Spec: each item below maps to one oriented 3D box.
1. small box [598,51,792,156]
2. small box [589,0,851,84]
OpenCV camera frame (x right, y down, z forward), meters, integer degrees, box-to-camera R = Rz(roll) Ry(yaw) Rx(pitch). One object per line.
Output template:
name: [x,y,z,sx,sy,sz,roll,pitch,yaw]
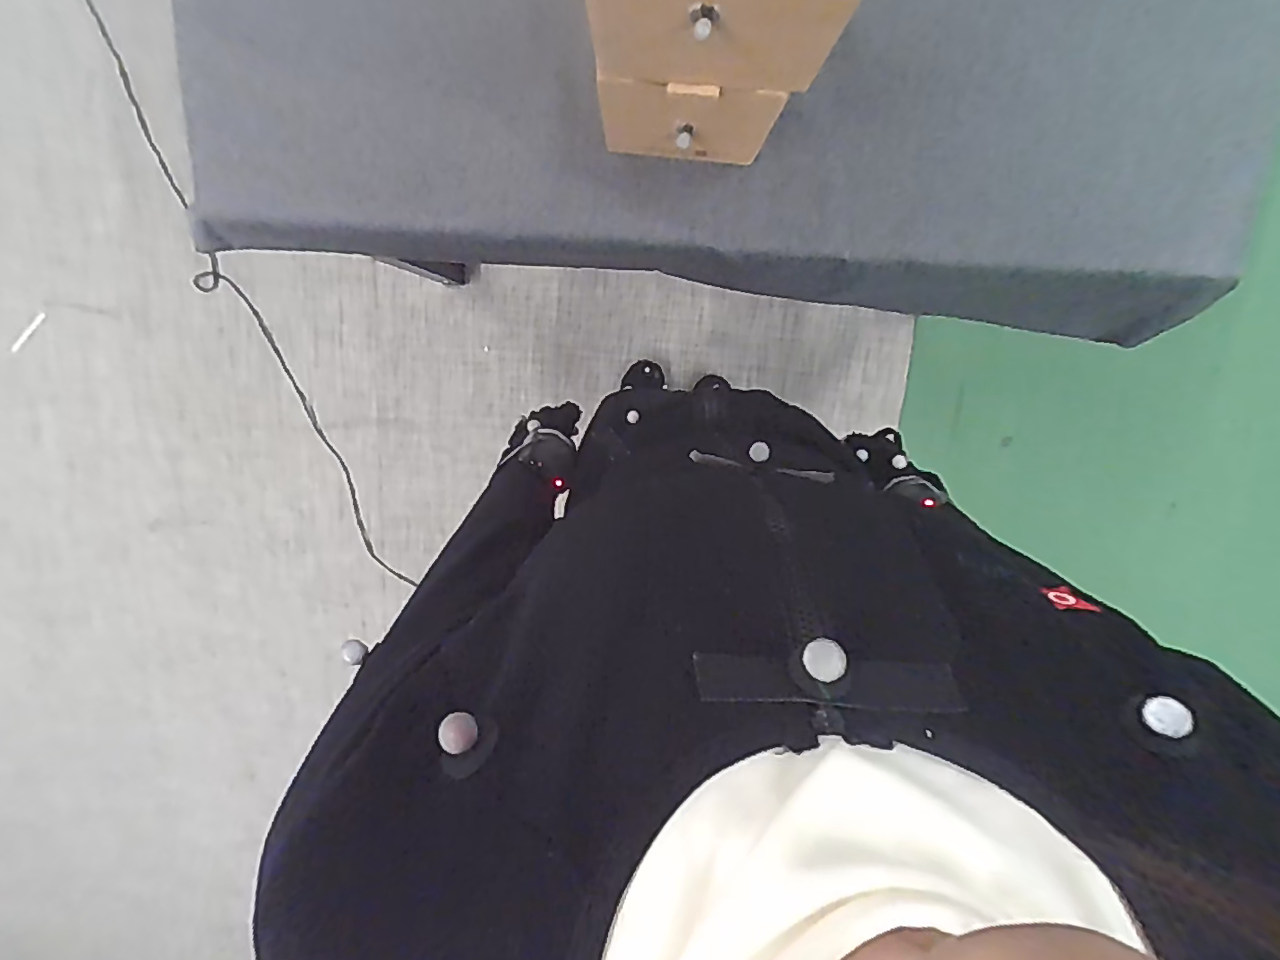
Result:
small box: [0.056,-0.431,0.512,0.168,0.176,0.179,5,103,1]
small box: [0.057,-0.391,0.352,0.179,0.176,0.168,4,103,2]
